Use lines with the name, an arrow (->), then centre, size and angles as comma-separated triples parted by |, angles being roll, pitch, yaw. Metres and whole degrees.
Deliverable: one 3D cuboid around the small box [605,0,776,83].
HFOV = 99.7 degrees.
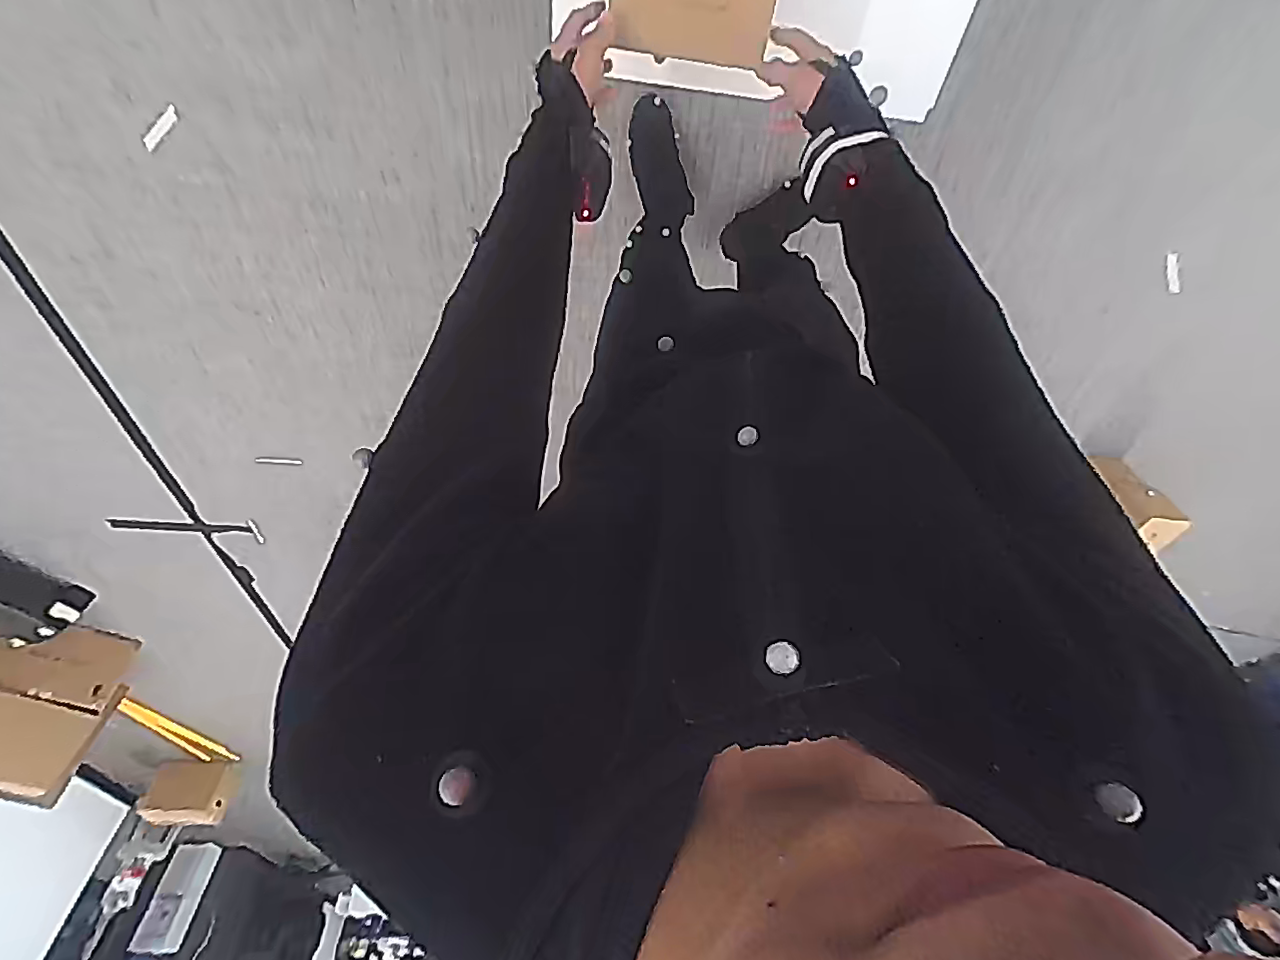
small box -> 0.052, -0.544, 0.565 | 0.168, 0.176, 0.179 | 5, 132, -6
